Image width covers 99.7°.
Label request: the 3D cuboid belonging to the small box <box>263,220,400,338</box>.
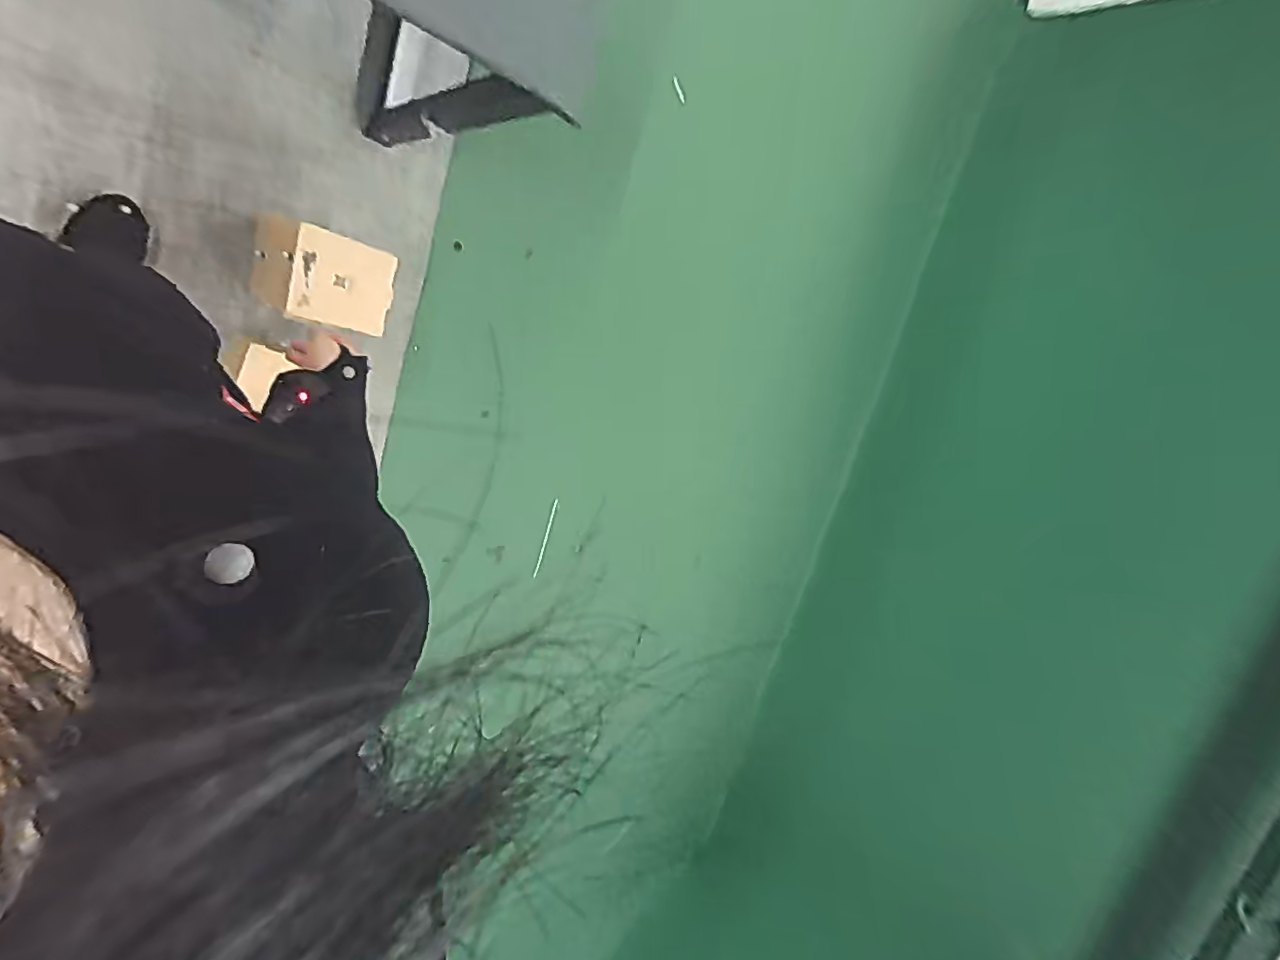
[{"bbox_3d":[-0.615,-0.400,1.074,0.179,0.176,0.168,8,104,-48],"label":"small box"}]

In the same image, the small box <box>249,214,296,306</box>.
[{"bbox_3d":[-0.730,-0.458,1.178,0.168,0.176,0.179,5,105,-48],"label":"small box"}]

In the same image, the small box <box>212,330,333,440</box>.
[{"bbox_3d":[-0.823,-0.212,1.204,0.168,0.176,0.179,20,95,-49],"label":"small box"}]
